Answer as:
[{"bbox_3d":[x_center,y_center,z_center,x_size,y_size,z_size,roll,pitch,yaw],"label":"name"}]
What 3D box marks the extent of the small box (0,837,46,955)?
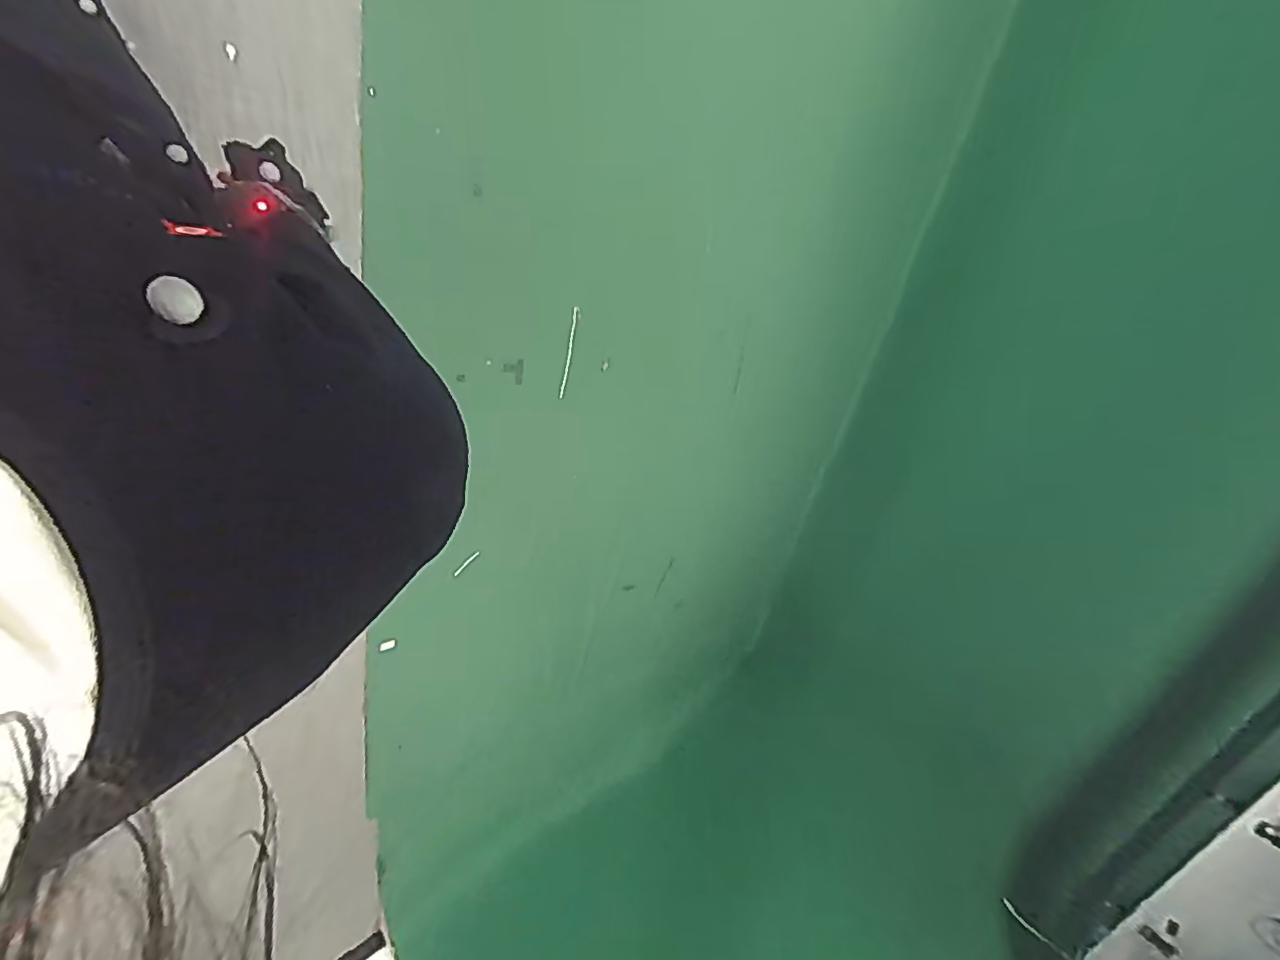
[{"bbox_3d":[-1.546,1.006,1.277,0.179,0.176,0.168,-11,125,-45],"label":"small box"}]
